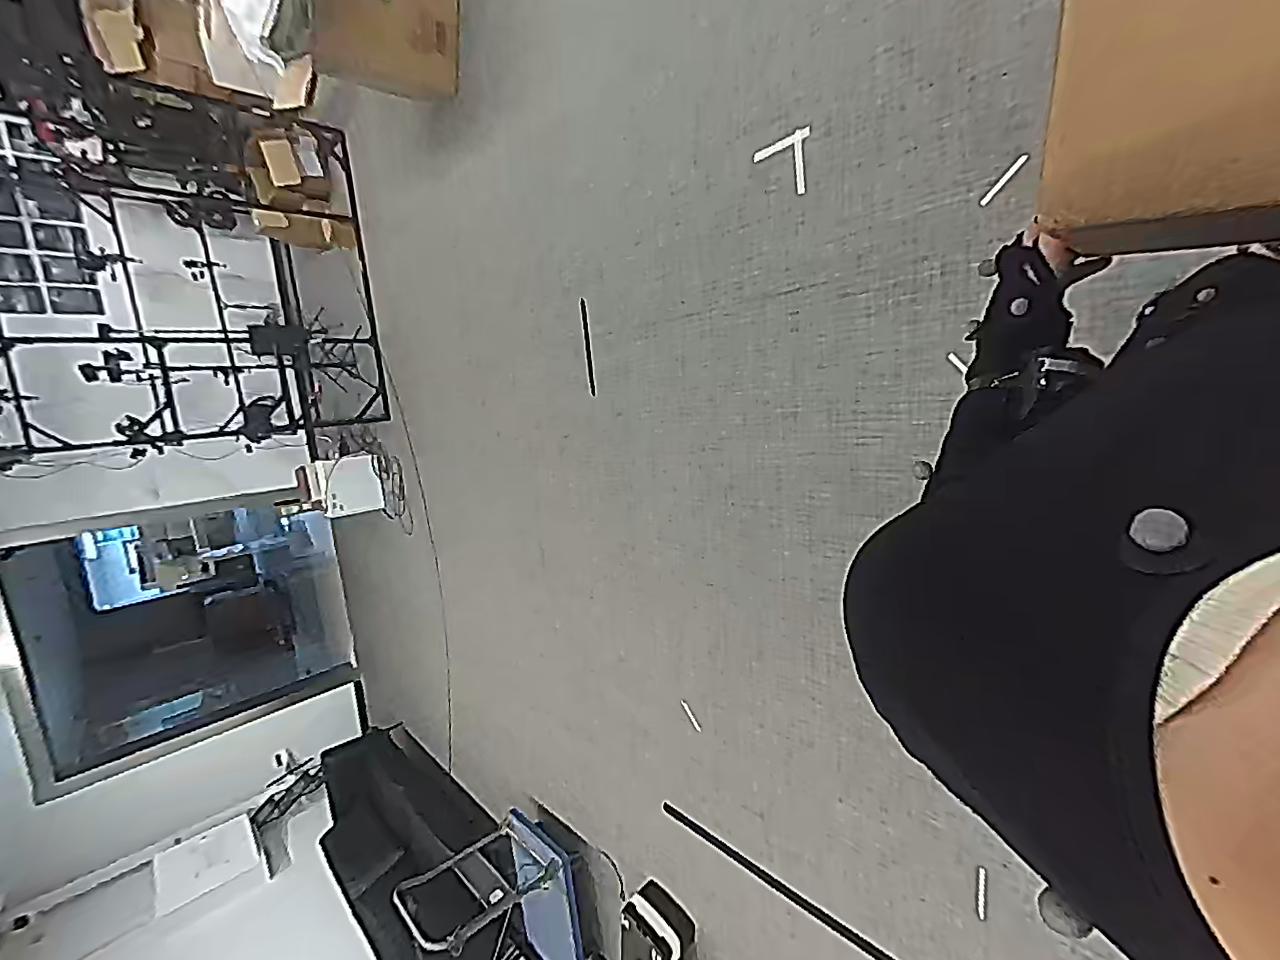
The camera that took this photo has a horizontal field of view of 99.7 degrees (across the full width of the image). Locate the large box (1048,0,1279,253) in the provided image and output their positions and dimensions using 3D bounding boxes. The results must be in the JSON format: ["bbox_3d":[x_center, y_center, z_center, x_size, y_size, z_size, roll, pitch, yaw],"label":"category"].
[{"bbox_3d":[0.436,-0.289,0.212,0.408,0.320,0.320,10,112,39],"label":"large box"}]
